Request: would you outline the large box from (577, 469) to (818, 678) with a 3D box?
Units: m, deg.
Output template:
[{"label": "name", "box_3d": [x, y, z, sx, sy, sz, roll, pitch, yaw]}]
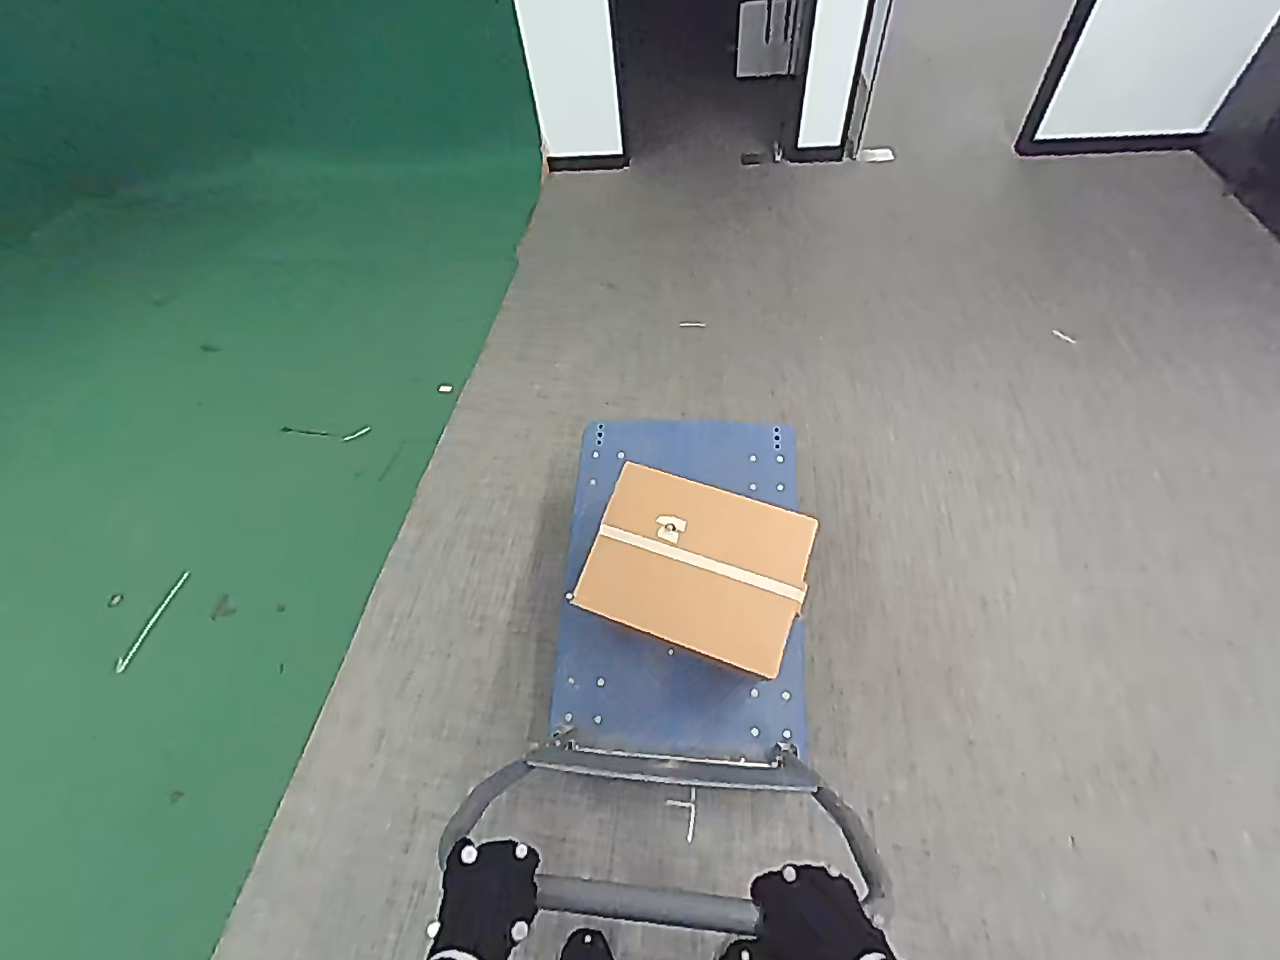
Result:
[{"label": "large box", "box_3d": [0.132, 0.213, 1.176, 0.408, 0.320, 0.320, 16, 72, 14]}]
